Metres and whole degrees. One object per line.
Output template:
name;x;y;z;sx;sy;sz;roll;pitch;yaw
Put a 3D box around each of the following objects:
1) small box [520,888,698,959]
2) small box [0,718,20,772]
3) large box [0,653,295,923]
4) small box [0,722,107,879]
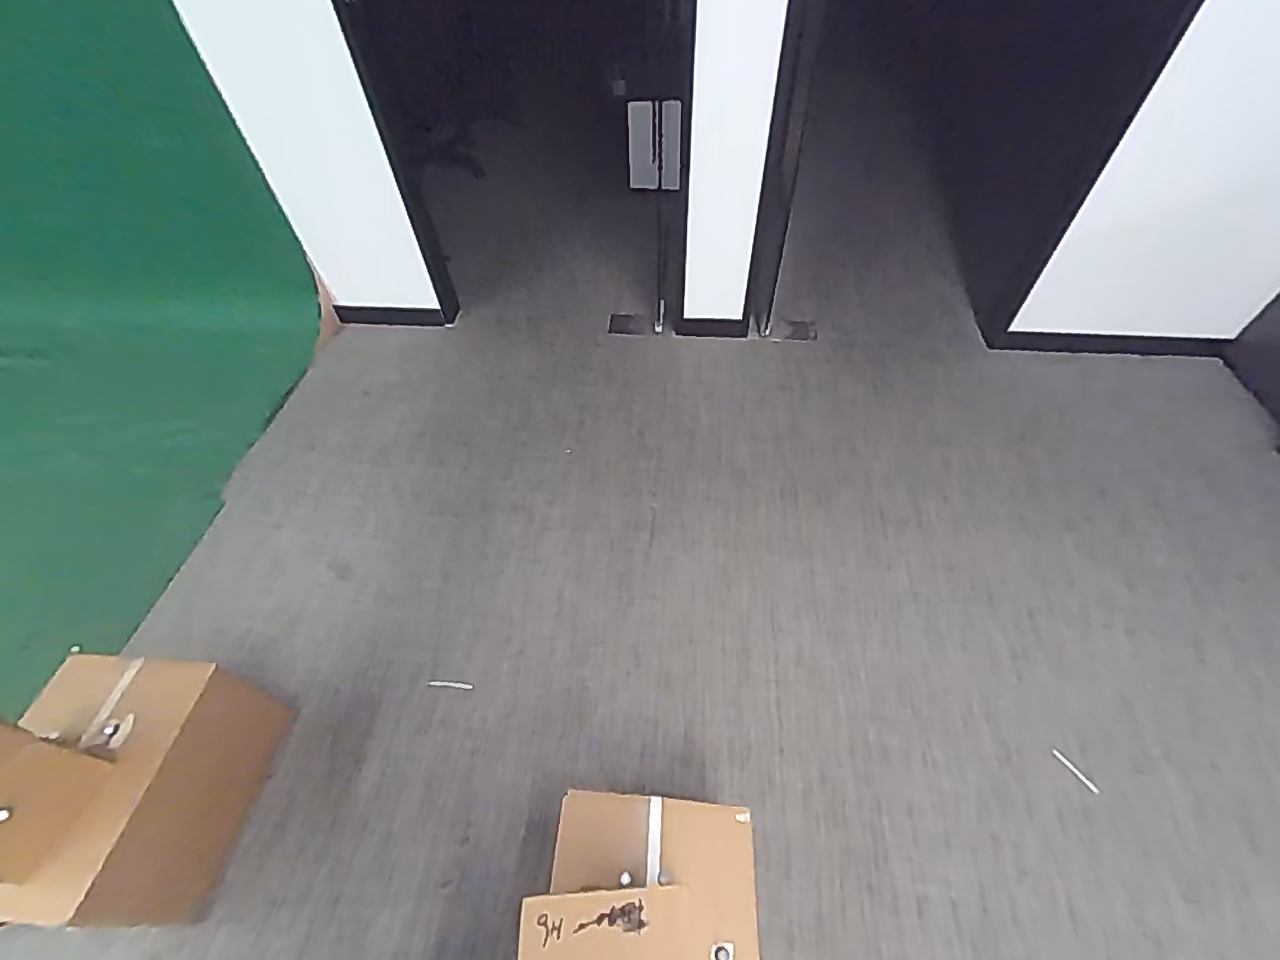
small box;-0.023;0.515;0.533;0.168;0.176;0.179;-3;52;-1
small box;-1.005;0.375;0.713;0.168;0.176;0.179;13;54;14
large box;-0.980;0.597;1.054;0.320;0.320;0.408;3;50;4
small box;-0.997;0.484;0.833;0.168;0.176;0.179;11;53;11
